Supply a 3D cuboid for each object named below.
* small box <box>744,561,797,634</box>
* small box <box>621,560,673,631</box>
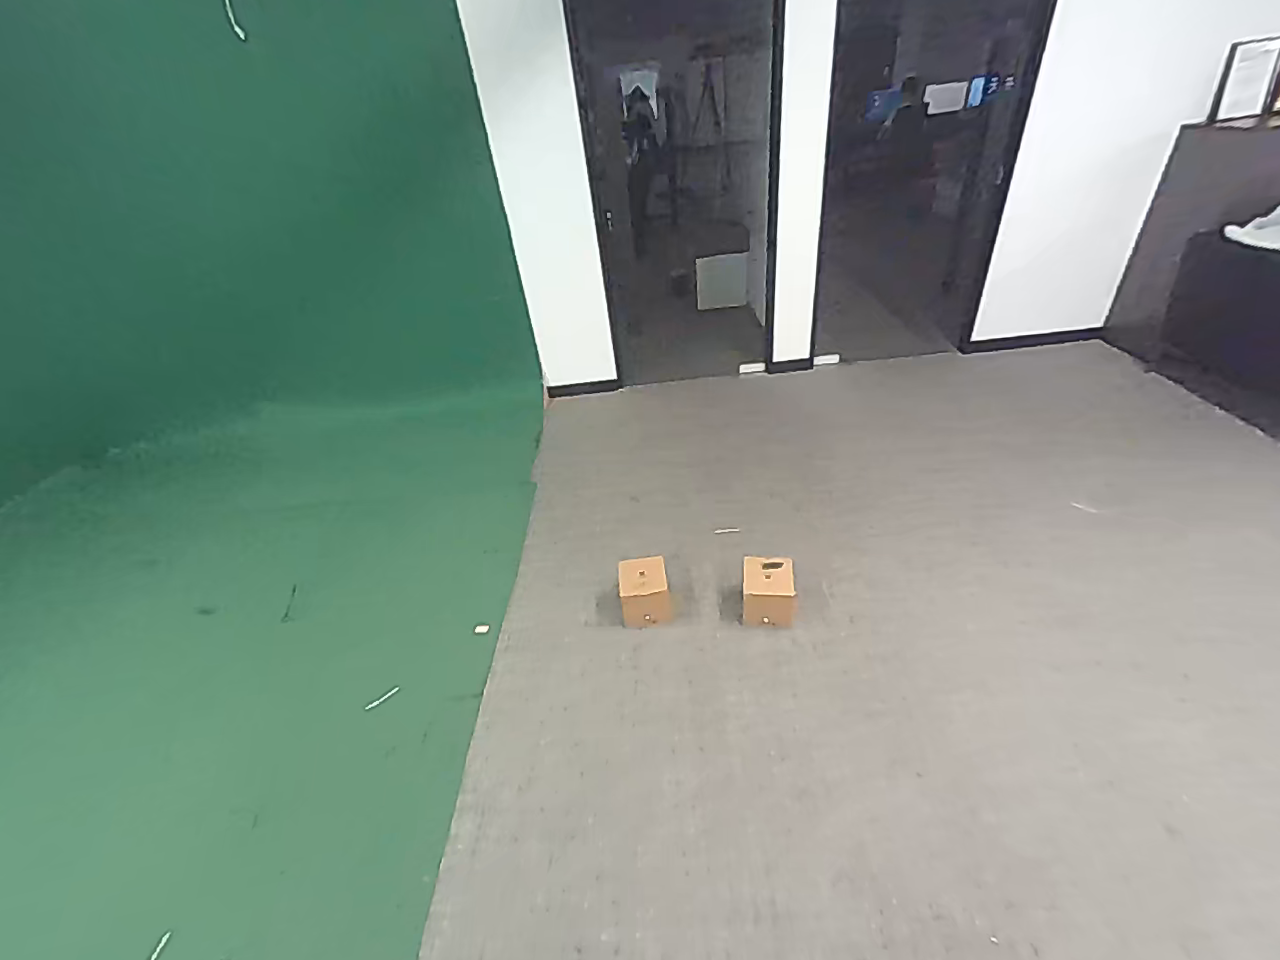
[{"bbox_3d":[0.446,0.401,1.860,0.168,0.176,0.179,1,36,12],"label":"small box"},{"bbox_3d":[0.023,0.410,1.924,0.168,0.176,0.179,-7,35,0],"label":"small box"}]
